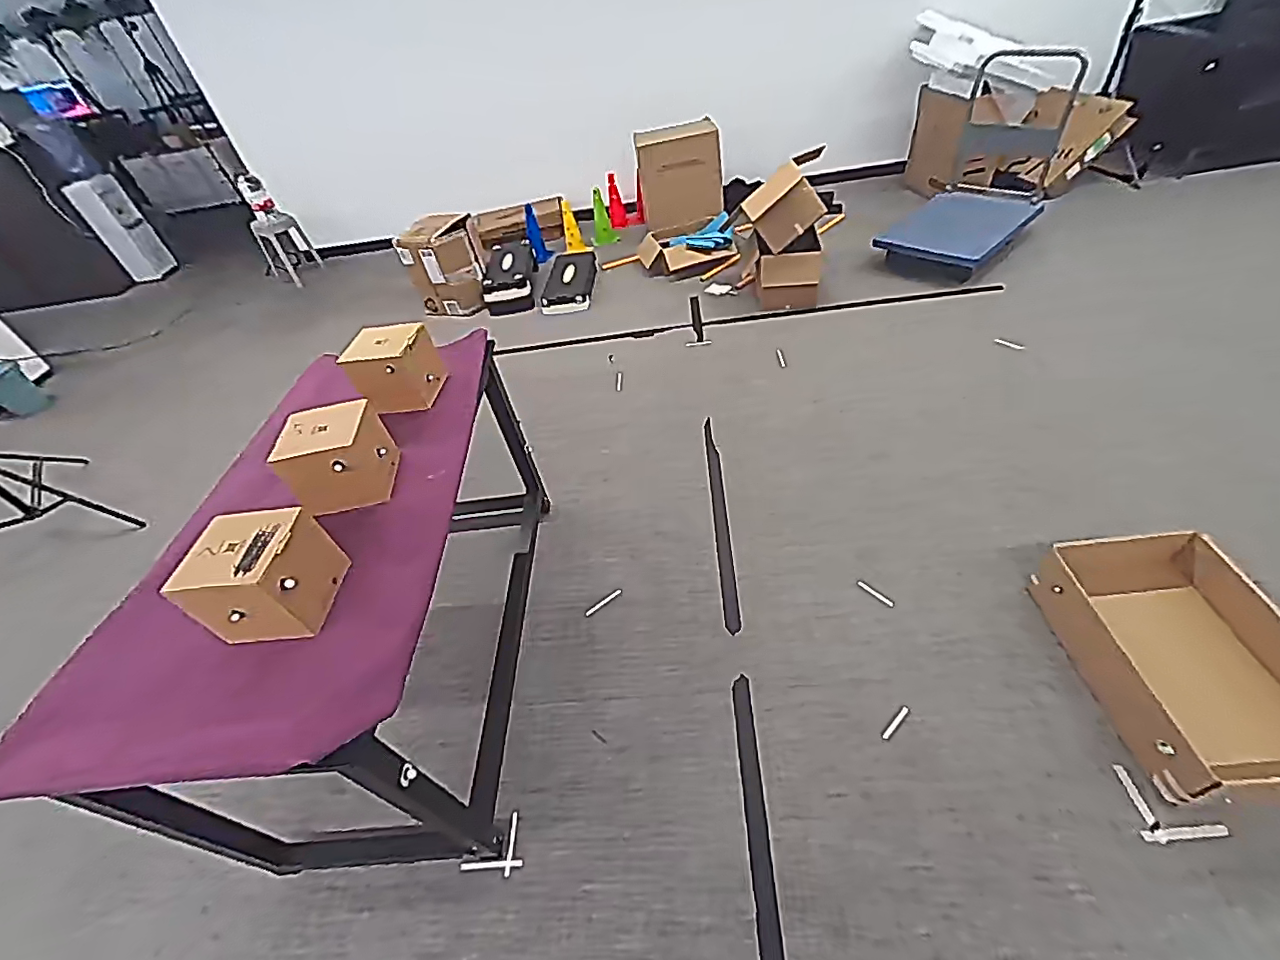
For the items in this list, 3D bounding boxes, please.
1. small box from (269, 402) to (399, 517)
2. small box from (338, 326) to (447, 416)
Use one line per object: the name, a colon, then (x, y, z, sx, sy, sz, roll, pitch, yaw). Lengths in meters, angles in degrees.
small box: (-0.657, -0.042, 1.190, 0.179, 0.176, 0.168, -13, 43, -1)
small box: (-0.647, -0.285, 1.435, 0.179, 0.176, 0.168, -4, 45, 9)
